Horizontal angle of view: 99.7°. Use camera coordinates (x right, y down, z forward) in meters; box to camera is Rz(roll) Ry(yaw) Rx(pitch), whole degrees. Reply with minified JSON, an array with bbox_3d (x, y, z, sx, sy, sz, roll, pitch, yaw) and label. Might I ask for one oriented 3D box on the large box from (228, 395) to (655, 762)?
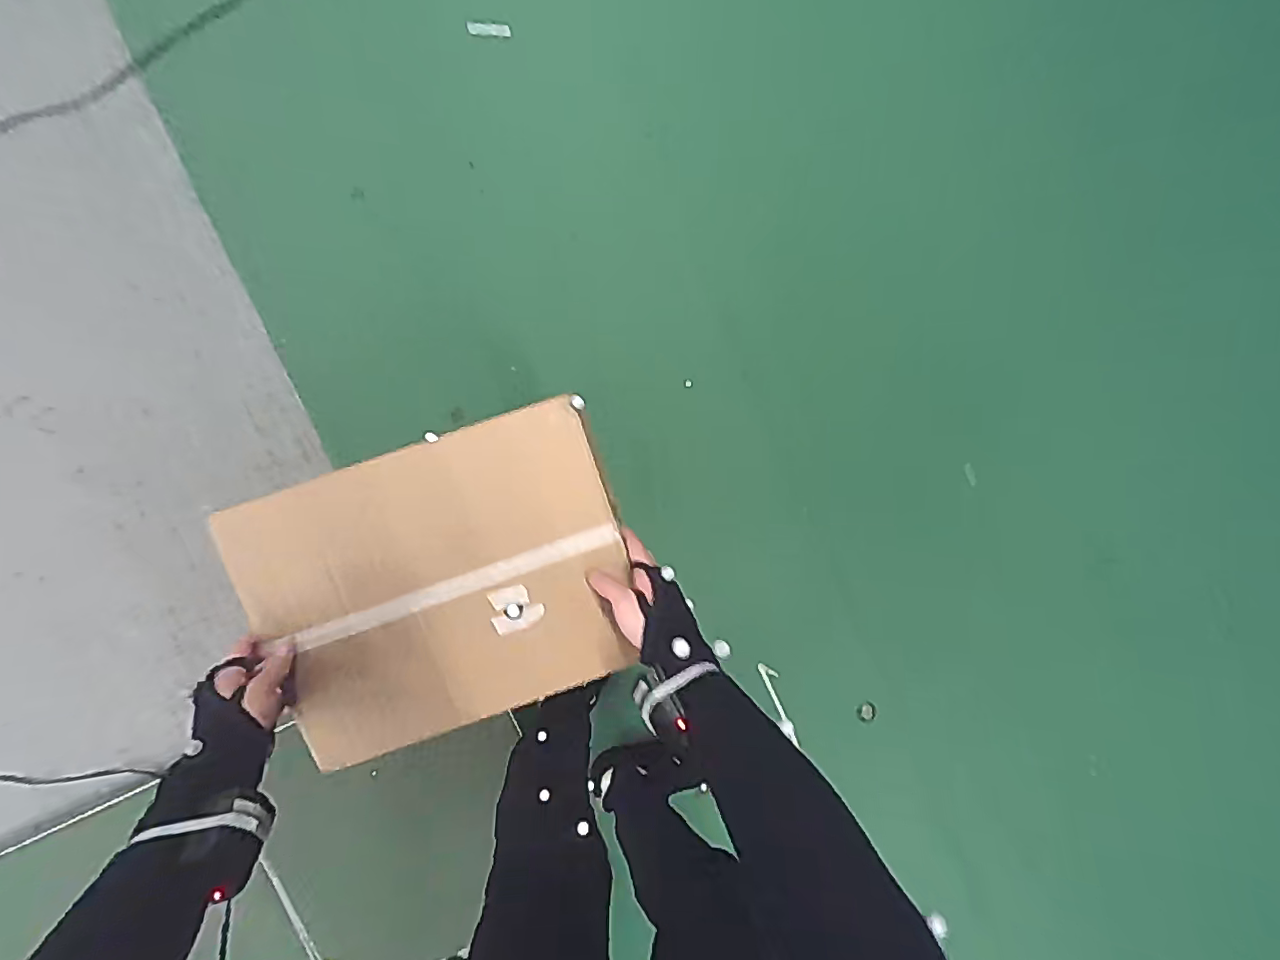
[{"bbox_3d":[-0.230,0.103,0.760,0.408,0.320,0.320,-20,97,-3],"label":"large box"}]
